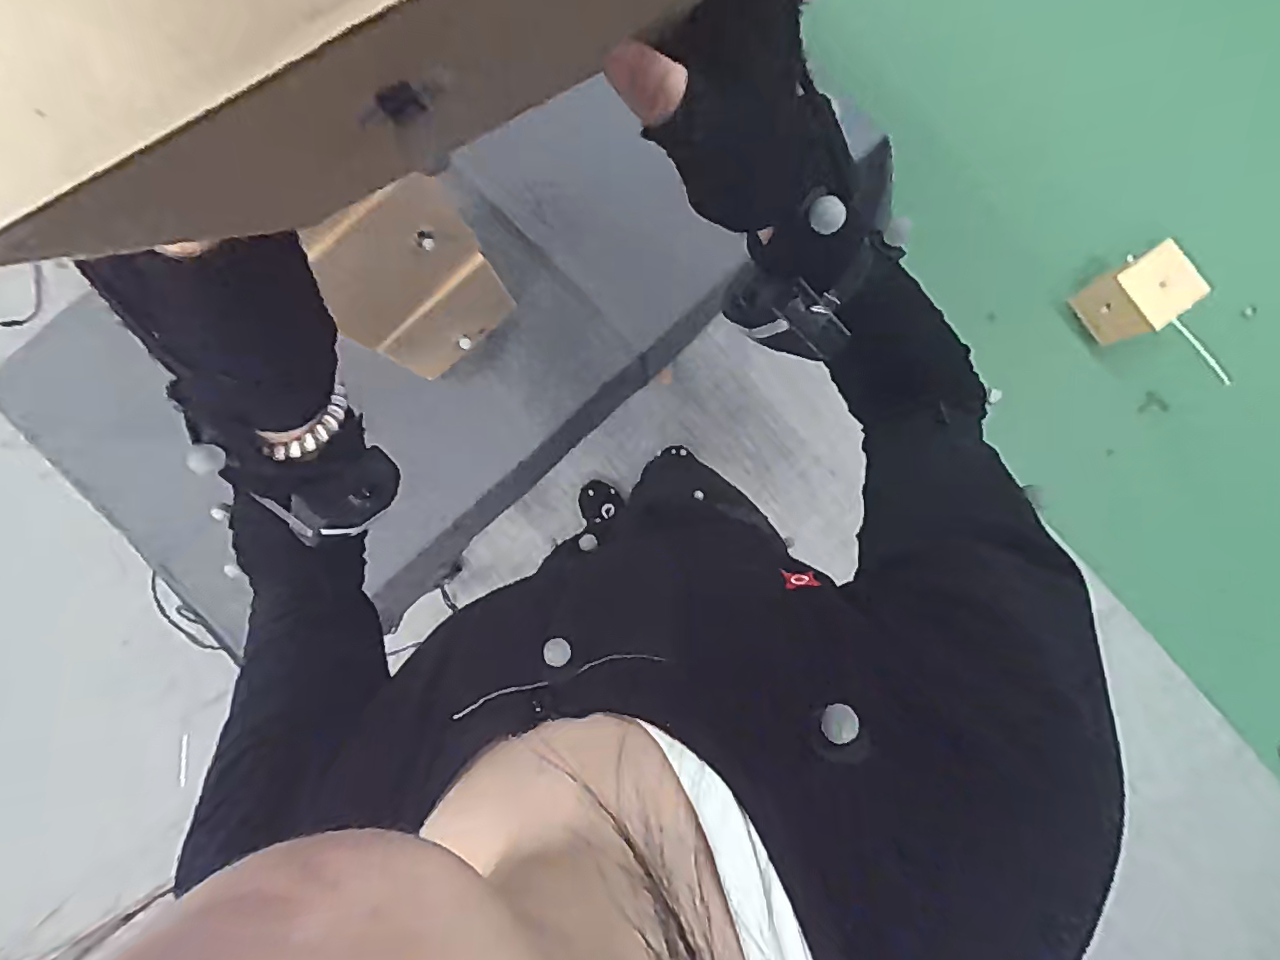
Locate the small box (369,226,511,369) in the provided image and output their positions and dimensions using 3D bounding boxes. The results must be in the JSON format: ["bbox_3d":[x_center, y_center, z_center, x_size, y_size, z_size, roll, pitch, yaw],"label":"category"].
[{"bbox_3d":[-0.295,-0.267,0.691,0.168,0.176,0.179,-41,90,-1],"label":"small box"}]

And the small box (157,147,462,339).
[{"bbox_3d":[-0.300,-0.271,0.528,0.179,0.176,0.168,-44,88,-1],"label":"small box"}]

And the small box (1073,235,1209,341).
[{"bbox_3d":[1.303,-0.497,1.428,0.179,0.176,0.168,-37,89,-1],"label":"small box"}]
